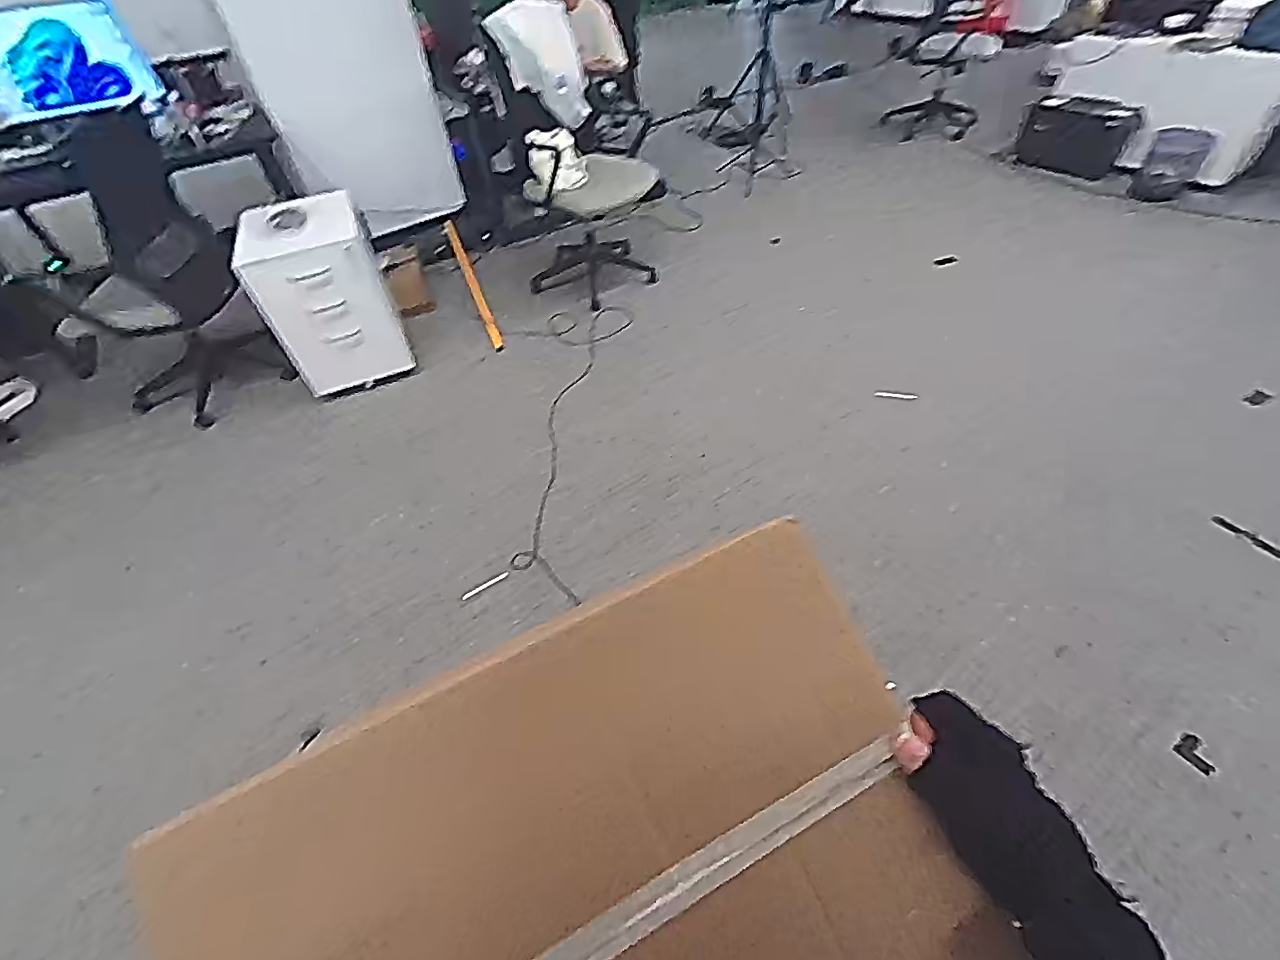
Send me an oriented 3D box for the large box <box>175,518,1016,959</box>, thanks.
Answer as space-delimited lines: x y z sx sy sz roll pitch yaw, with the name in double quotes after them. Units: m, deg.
-0.030 0.274 0.452 0.408 0.320 0.320 -24 83 -12 "large box"
